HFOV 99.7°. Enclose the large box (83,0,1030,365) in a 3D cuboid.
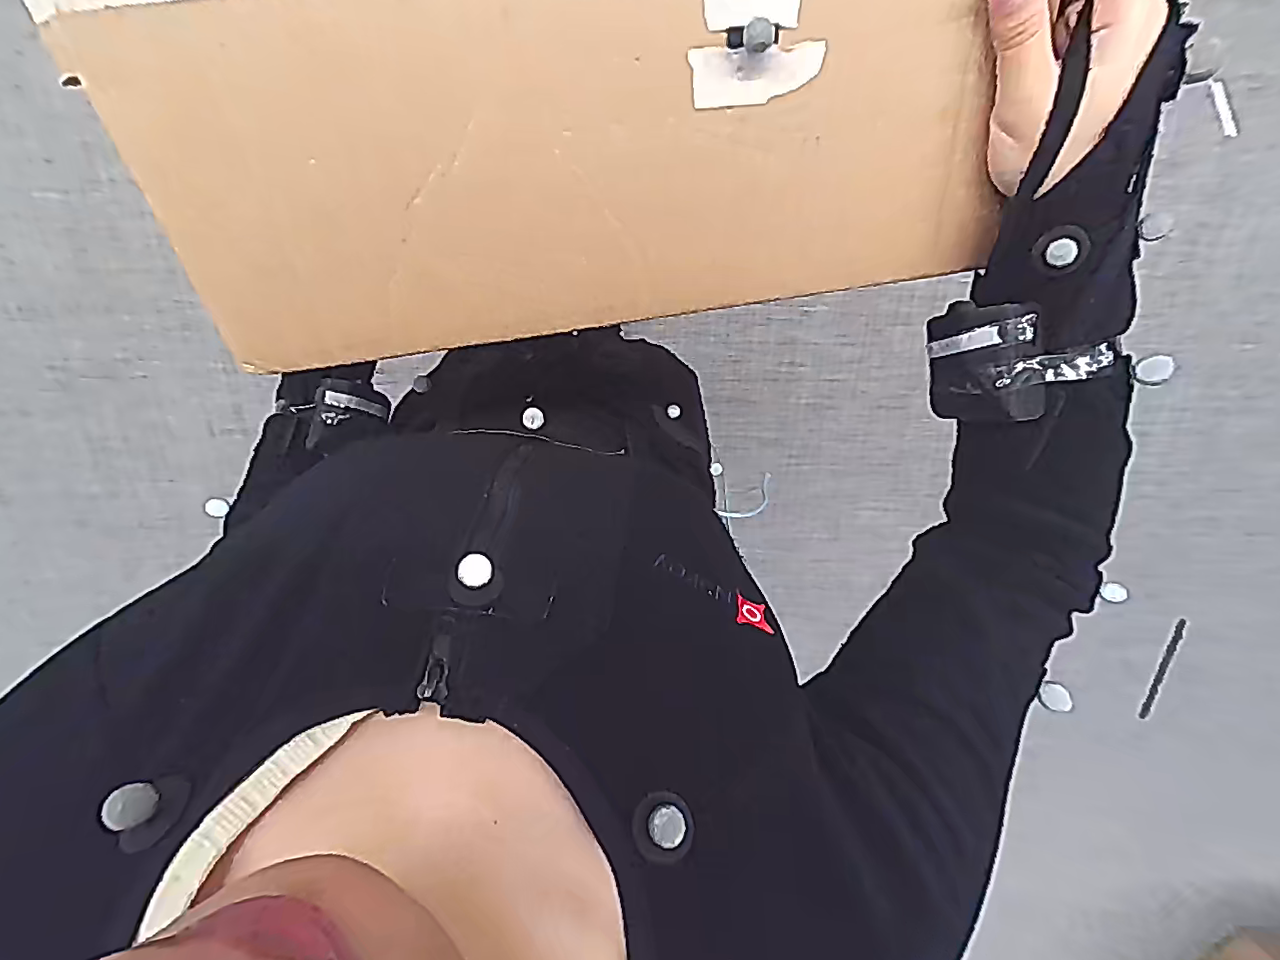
[{"bbox_3d":[-0.043,-0.299,0.343,0.408,0.320,0.320,-10,123,-3],"label":"large box"}]
